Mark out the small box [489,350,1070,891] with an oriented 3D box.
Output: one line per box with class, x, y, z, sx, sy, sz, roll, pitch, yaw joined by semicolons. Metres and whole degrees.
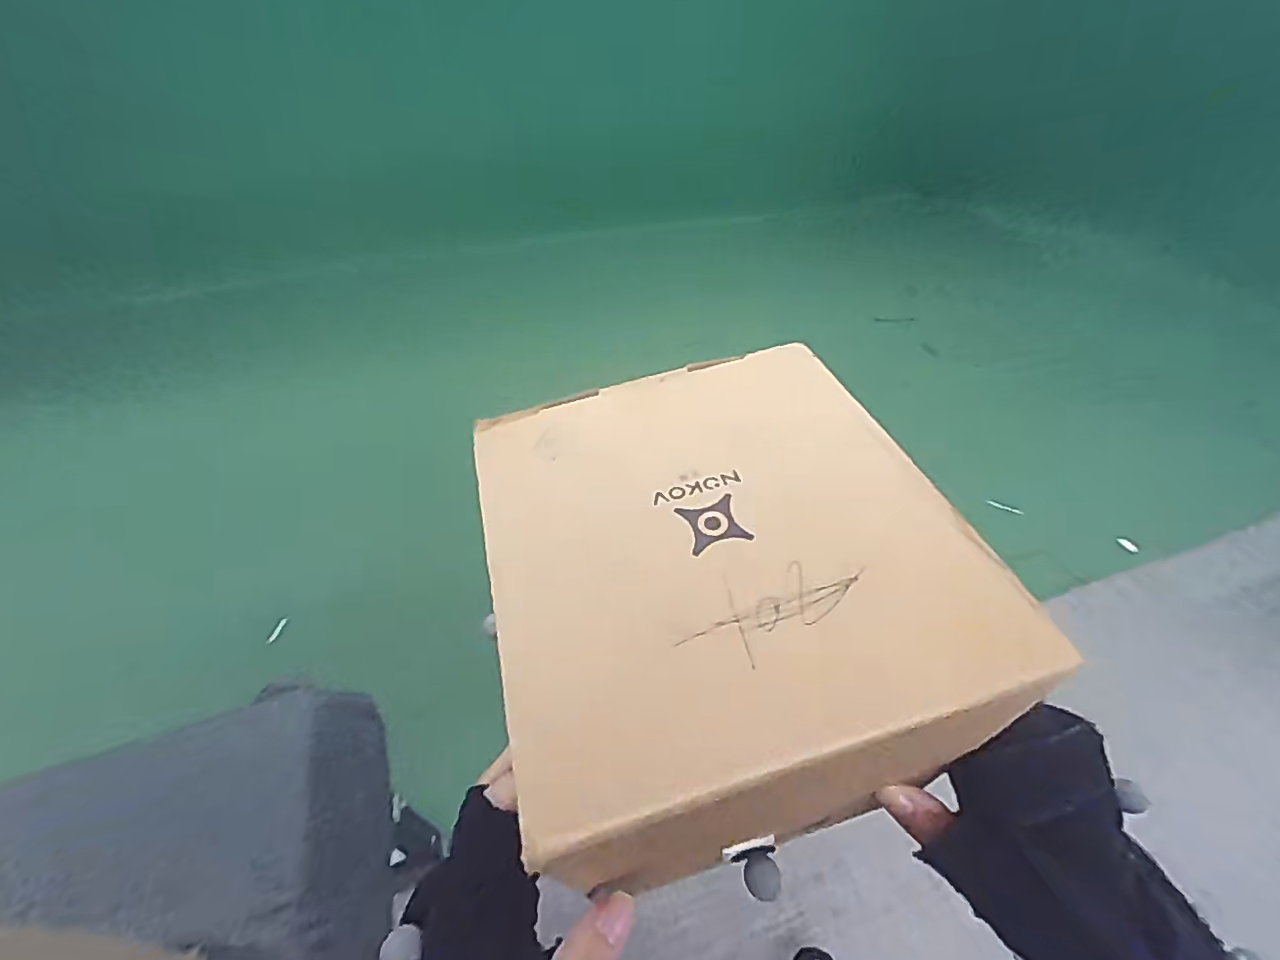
small box;0.036;0.069;0.267;0.168;0.176;0.179;-16;50;-6
